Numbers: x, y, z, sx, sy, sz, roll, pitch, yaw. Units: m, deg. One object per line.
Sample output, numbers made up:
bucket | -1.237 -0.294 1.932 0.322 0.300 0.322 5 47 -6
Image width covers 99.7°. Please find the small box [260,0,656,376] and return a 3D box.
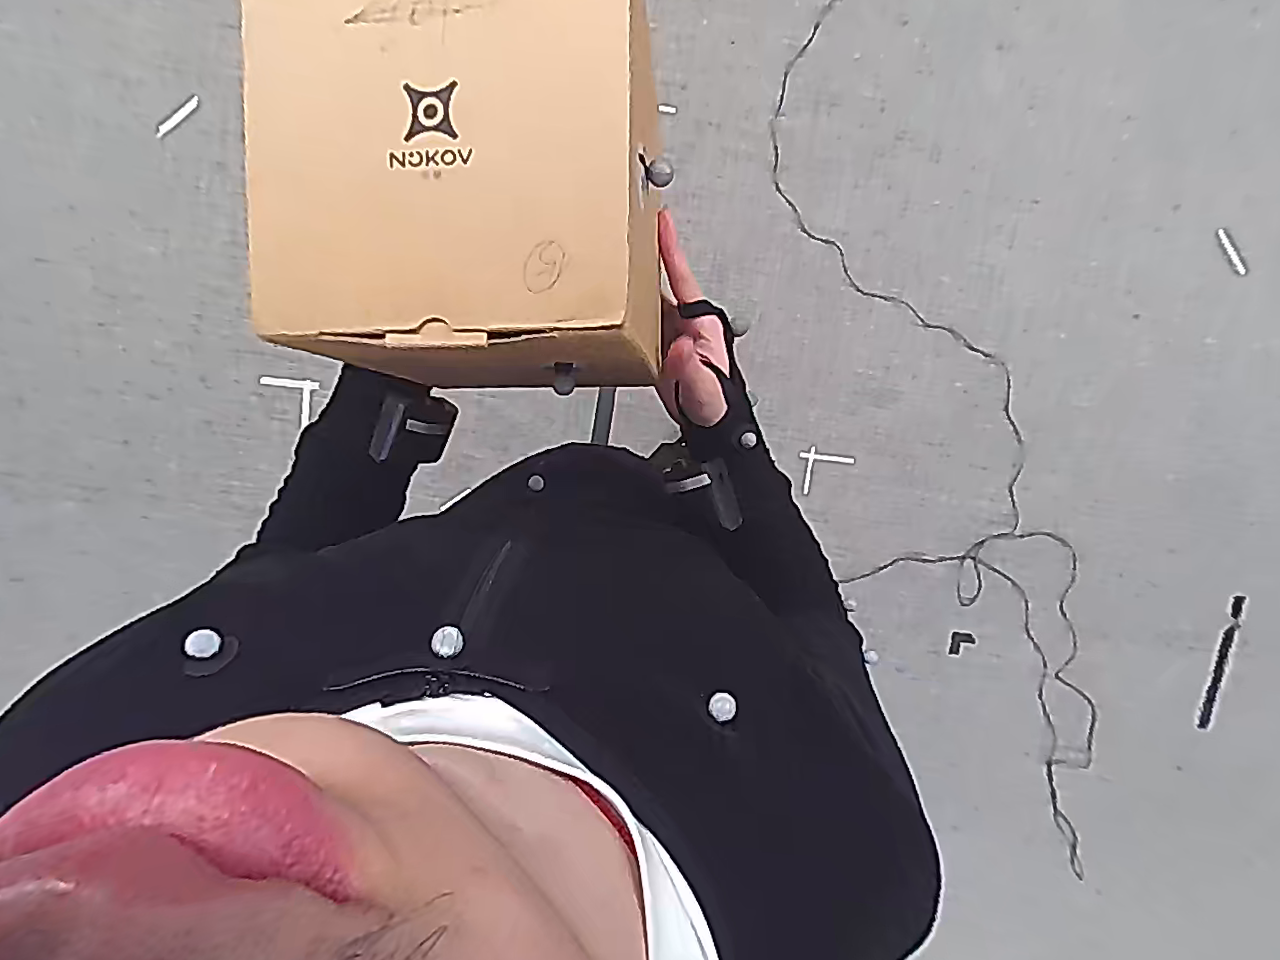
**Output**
small box | -0.078 -0.156 0.314 0.168 0.176 0.179 0 92 5
